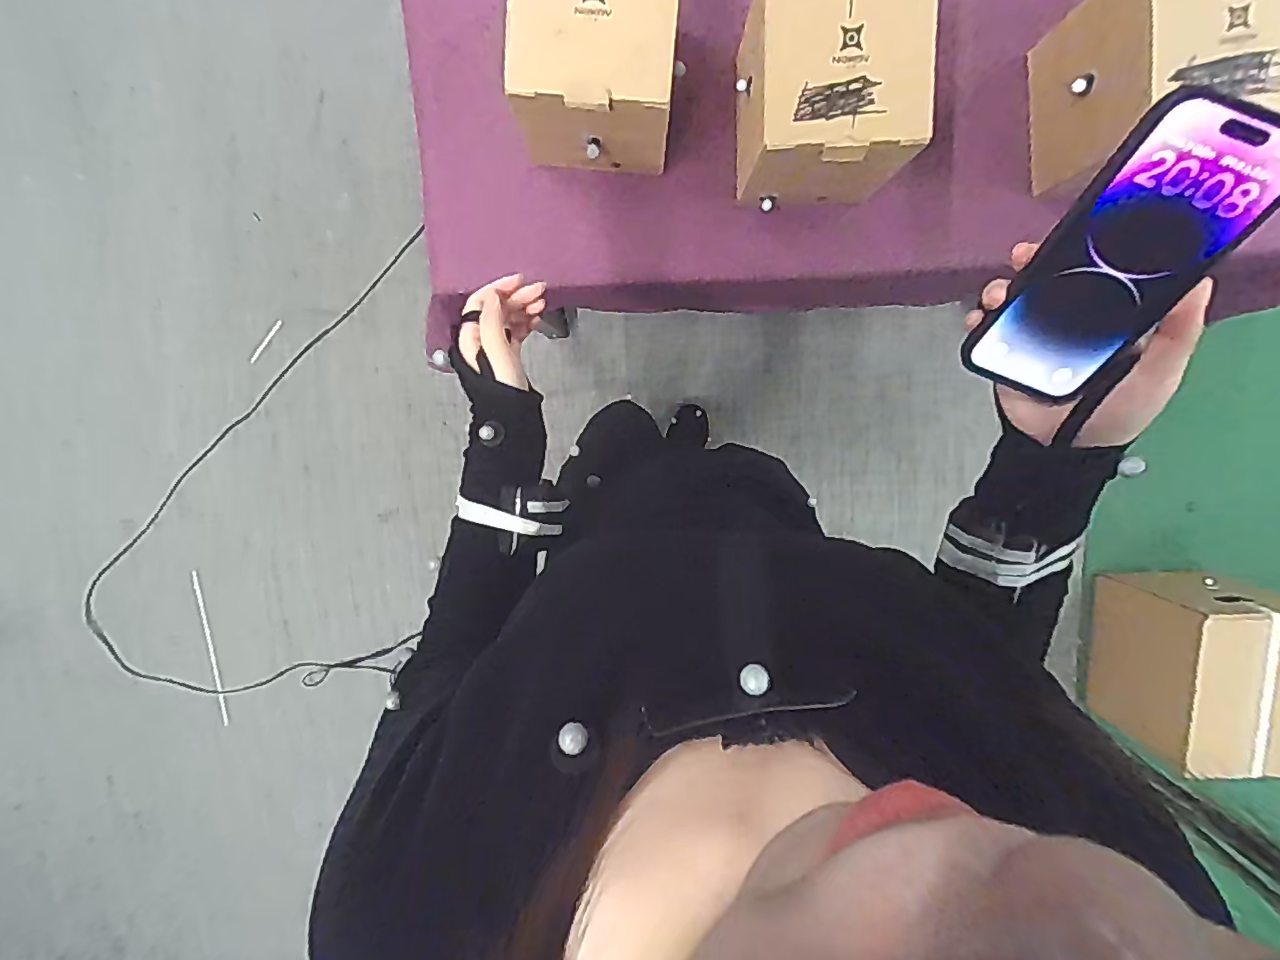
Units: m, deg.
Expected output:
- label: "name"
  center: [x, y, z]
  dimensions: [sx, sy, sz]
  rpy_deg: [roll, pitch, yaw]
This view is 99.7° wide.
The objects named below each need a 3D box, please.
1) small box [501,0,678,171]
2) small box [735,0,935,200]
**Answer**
- label: "small box"
  center: [-0.046, -0.468, 0.597]
  dimensions: [0.168, 0.176, 0.179]
  rpy_deg: [5, 99, 0]
- label: "small box"
  center: [0.201, -0.426, 0.599]
  dimensions: [0.168, 0.176, 0.179]
  rpy_deg: [-2, 98, 1]
